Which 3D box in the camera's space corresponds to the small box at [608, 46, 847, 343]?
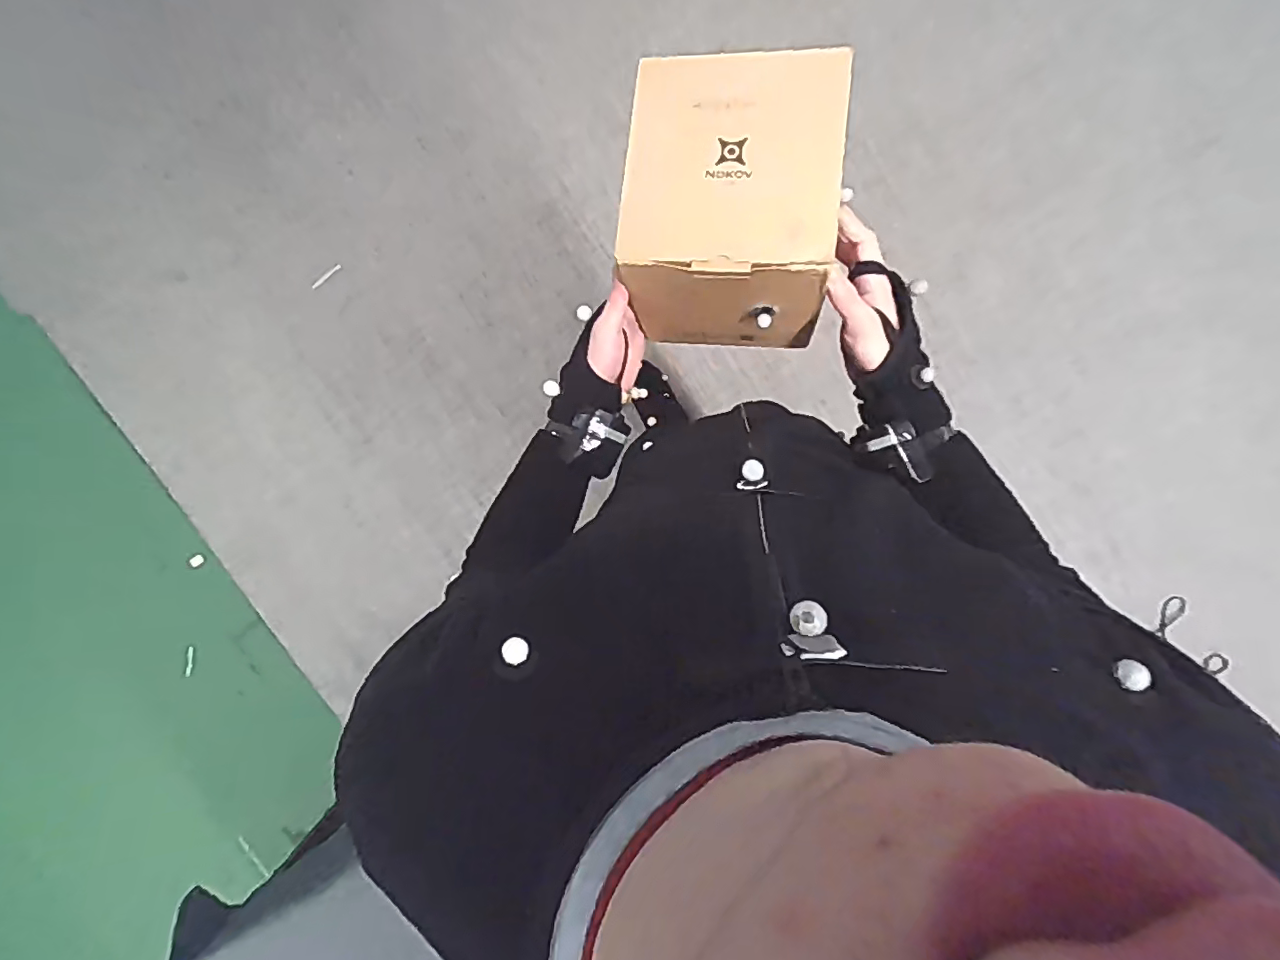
[{"bbox_3d":[0.078,-0.236,0.487,0.168,0.176,0.179,6,83,10],"label":"small box"}]
